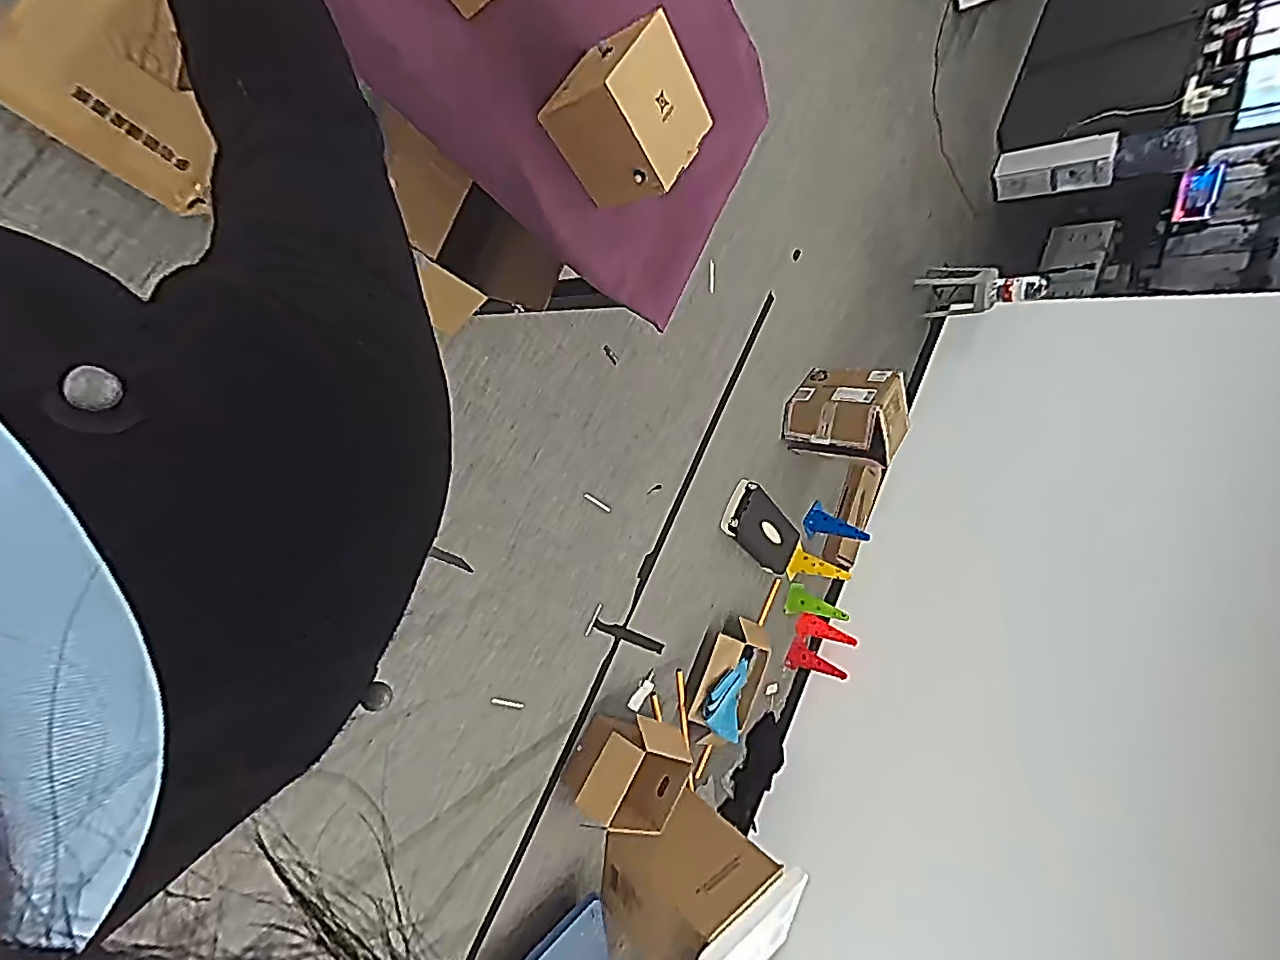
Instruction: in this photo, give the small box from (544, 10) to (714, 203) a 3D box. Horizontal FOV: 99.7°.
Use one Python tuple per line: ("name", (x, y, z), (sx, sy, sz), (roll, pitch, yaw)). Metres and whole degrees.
("small box", (-0.019, -0.574, 0.859), (0.179, 0.176, 0.168), (44, 69, -44))
